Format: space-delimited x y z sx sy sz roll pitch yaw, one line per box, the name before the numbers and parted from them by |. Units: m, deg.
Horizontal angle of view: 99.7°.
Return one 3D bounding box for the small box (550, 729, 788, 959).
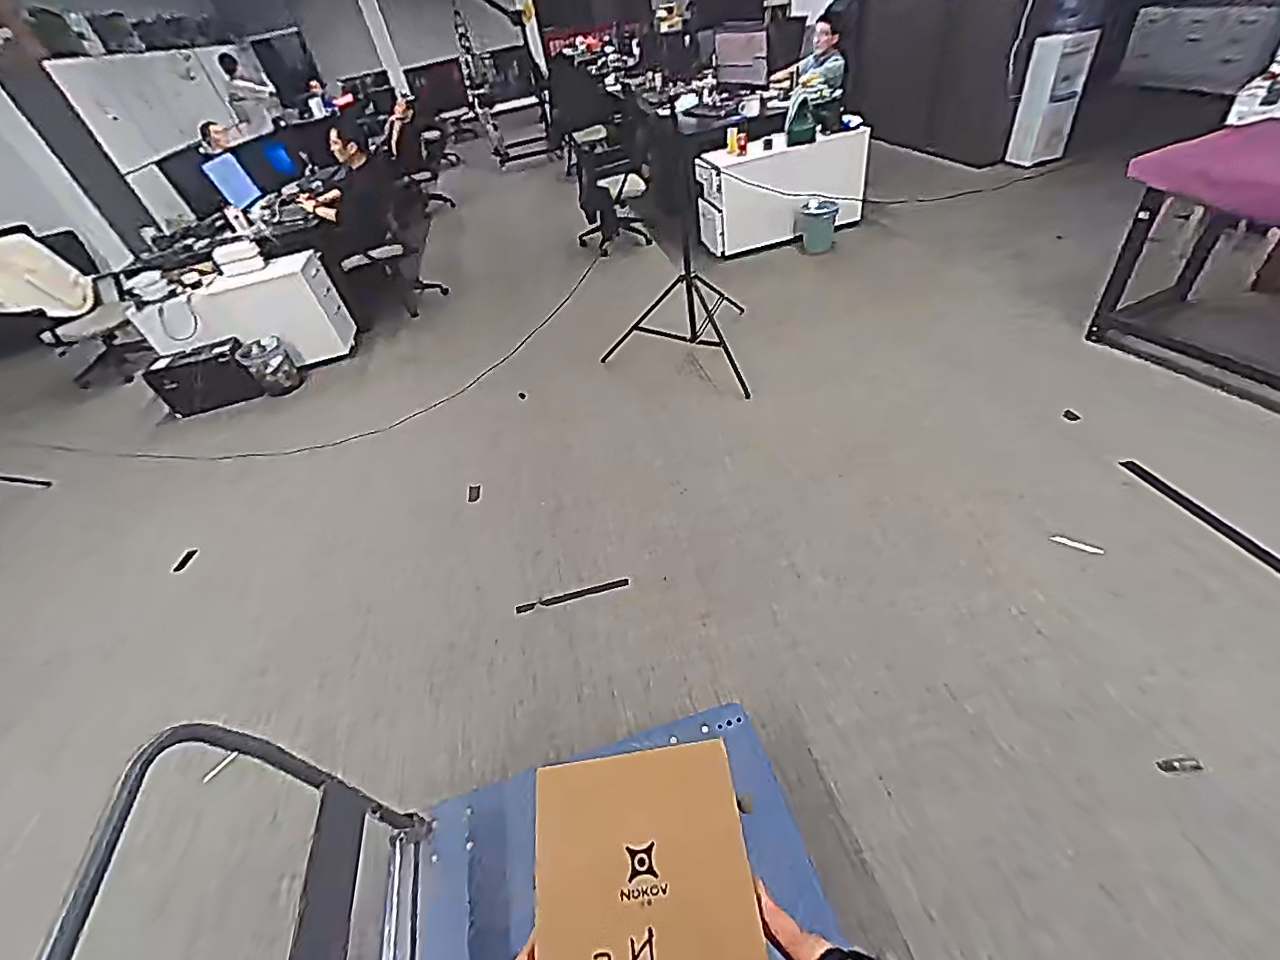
small box | 0.022 0.342 0.467 0.168 0.176 0.179 -10 48 1
